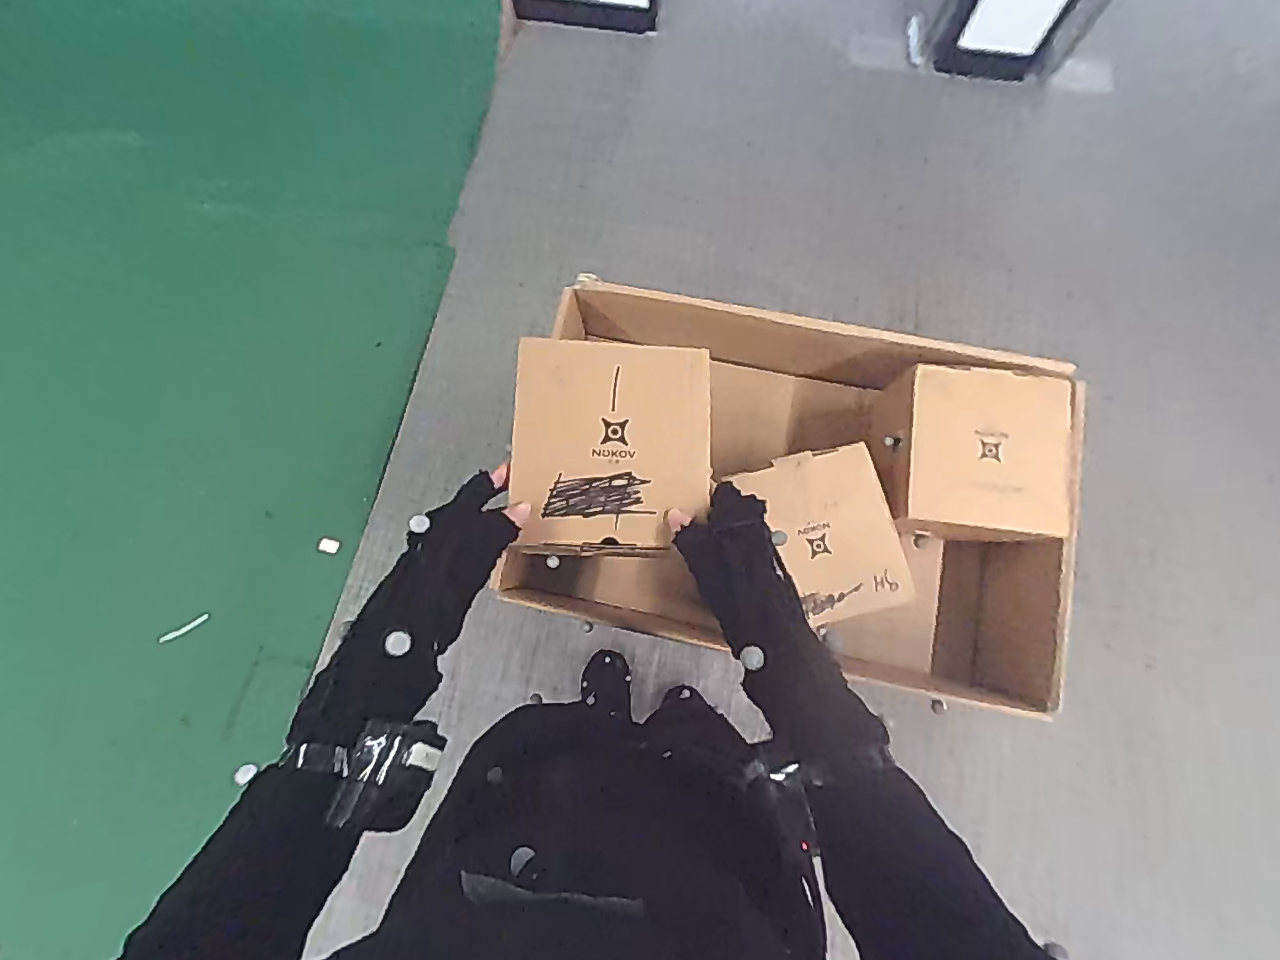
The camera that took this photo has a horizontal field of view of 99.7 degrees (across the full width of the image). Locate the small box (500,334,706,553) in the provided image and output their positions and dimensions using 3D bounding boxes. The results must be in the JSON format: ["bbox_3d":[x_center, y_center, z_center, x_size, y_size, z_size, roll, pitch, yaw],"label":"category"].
[{"bbox_3d":[-0.034,-0.020,0.521,0.168,0.176,0.179,2,80,-6],"label":"small box"}]
